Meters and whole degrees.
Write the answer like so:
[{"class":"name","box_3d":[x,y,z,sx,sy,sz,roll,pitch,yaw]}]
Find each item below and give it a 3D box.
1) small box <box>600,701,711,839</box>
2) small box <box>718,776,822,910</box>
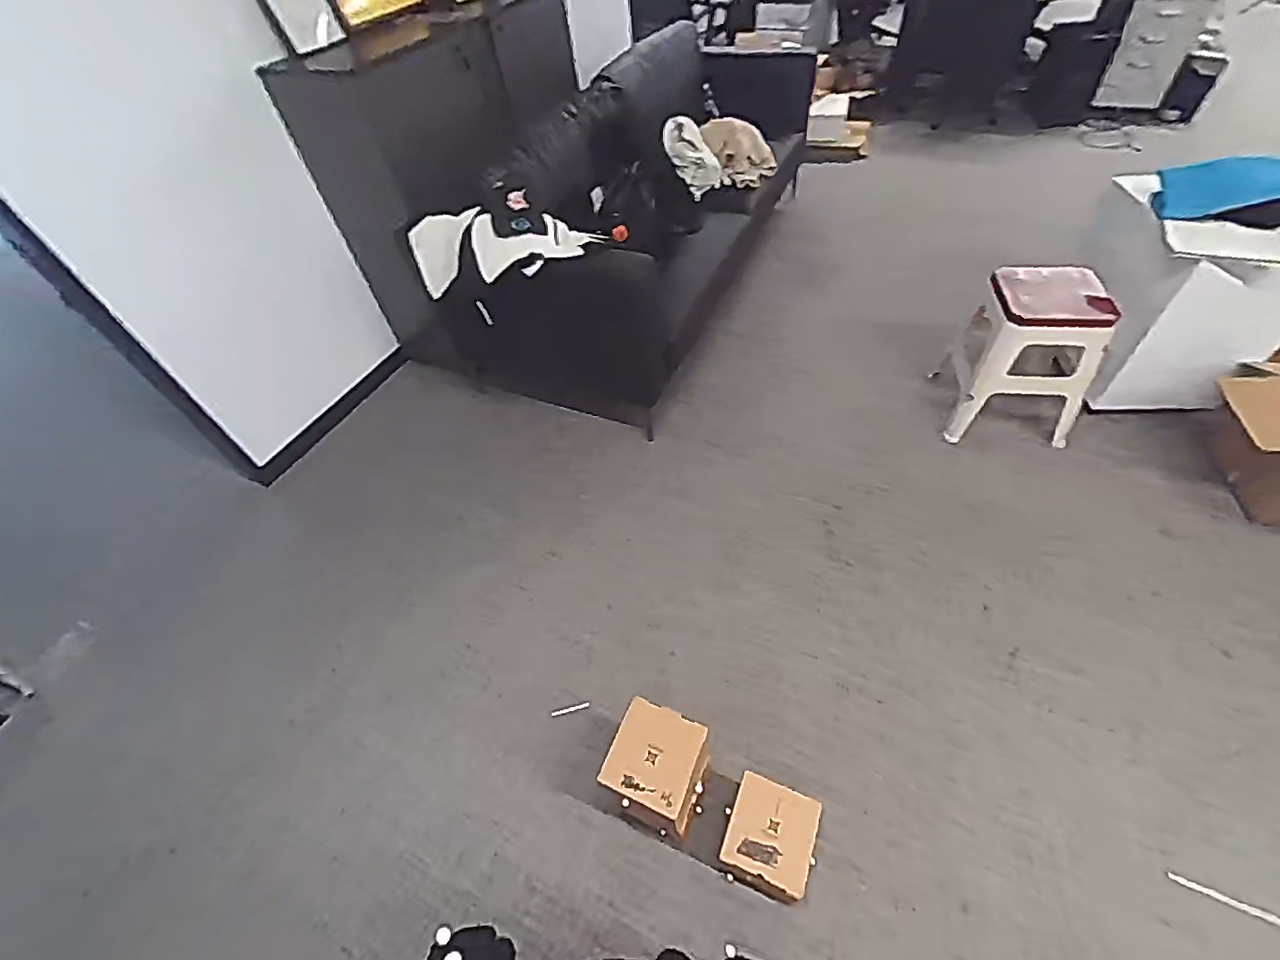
[{"class":"small box","box_3d":[0.035,0.592,1.102,0.168,0.176,0.179,17,52,20]},{"class":"small box","box_3d":[0.270,0.767,1.138,0.168,0.176,0.179,17,52,19]}]
